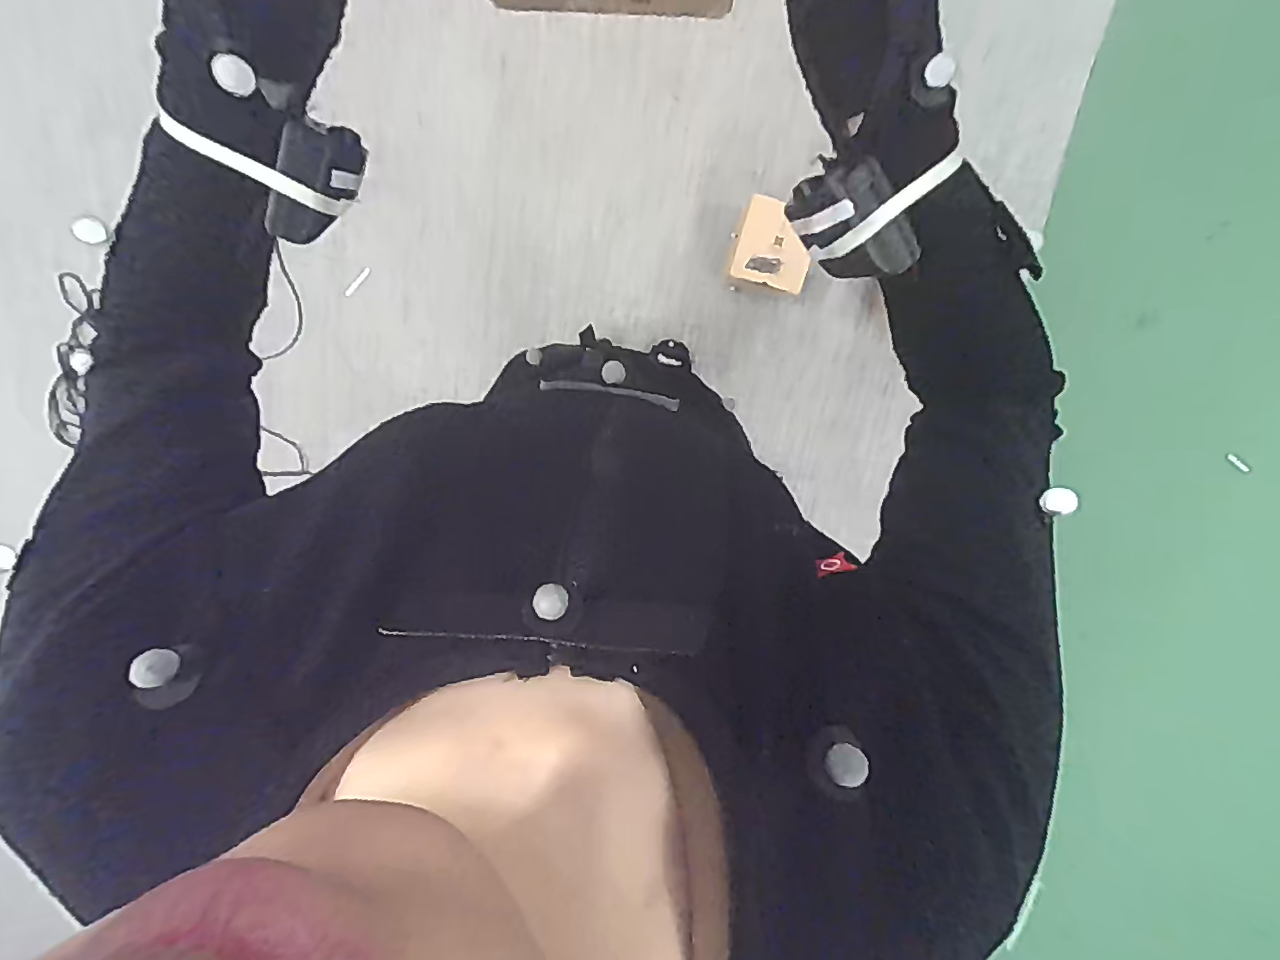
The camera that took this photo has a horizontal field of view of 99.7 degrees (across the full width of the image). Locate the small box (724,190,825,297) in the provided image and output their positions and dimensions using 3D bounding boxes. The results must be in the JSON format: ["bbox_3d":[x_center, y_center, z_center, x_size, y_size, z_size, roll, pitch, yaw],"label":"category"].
[{"bbox_3d":[0.299,-0.536,1.253,0.168,0.176,0.179,15,104,-3],"label":"small box"}]
